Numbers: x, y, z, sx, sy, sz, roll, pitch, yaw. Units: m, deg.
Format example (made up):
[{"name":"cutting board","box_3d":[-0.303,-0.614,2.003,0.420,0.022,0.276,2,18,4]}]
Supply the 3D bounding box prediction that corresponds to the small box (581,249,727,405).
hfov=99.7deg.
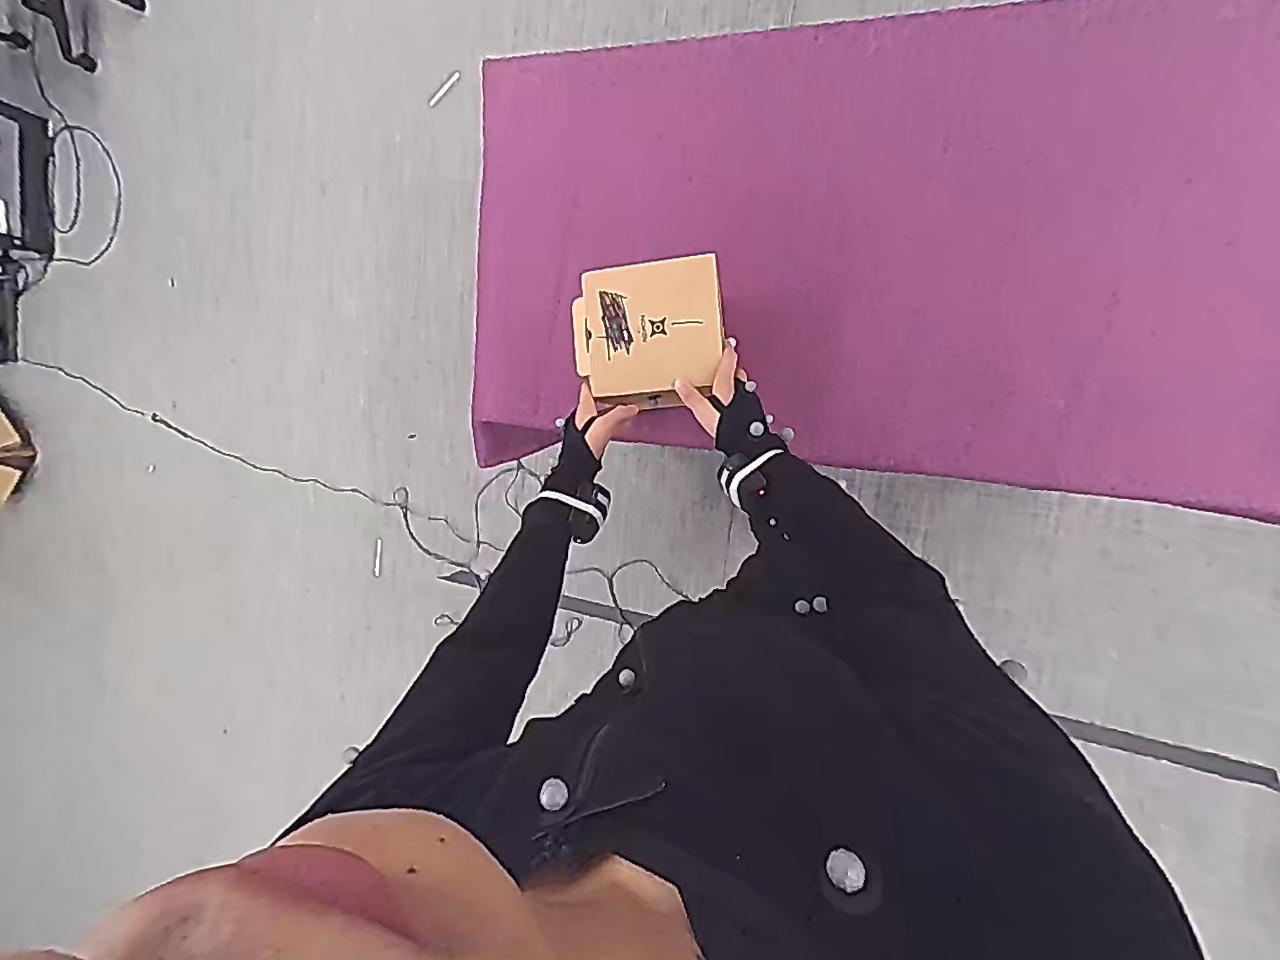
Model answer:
[{"name":"small box","box_3d":[0.028,-0.202,0.763,0.179,0.176,0.168,-4,91,10]}]
